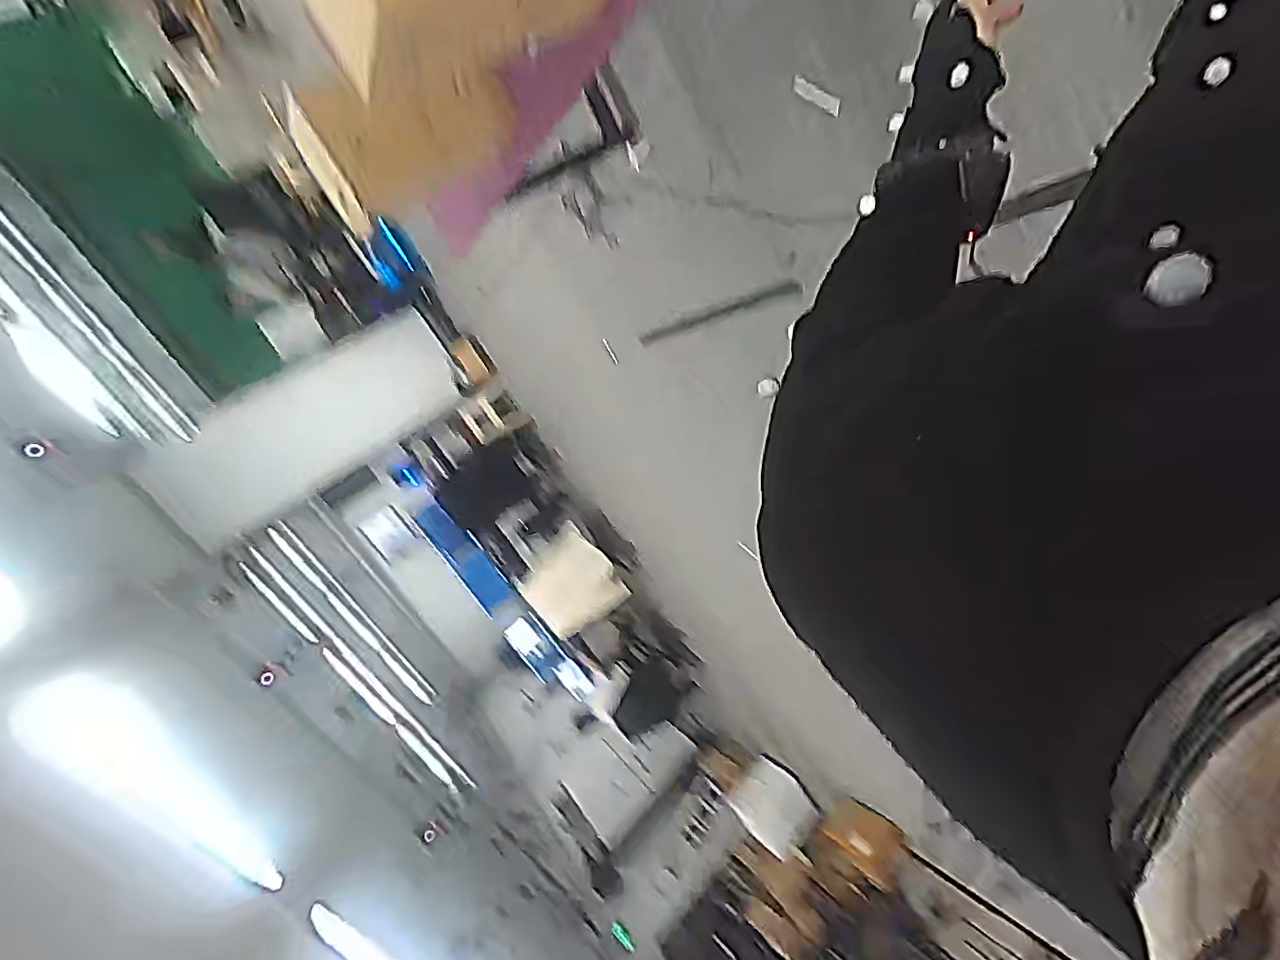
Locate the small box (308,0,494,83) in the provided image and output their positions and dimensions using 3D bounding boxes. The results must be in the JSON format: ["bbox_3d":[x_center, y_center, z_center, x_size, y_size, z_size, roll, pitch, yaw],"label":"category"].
[{"bbox_3d":[-0.255,-0.552,0.543,0.179,0.176,0.168,12,136,58],"label":"small box"}]

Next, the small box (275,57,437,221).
[{"bbox_3d":[-0.475,-0.582,0.920,0.168,0.176,0.179,10,135,59],"label":"small box"}]
